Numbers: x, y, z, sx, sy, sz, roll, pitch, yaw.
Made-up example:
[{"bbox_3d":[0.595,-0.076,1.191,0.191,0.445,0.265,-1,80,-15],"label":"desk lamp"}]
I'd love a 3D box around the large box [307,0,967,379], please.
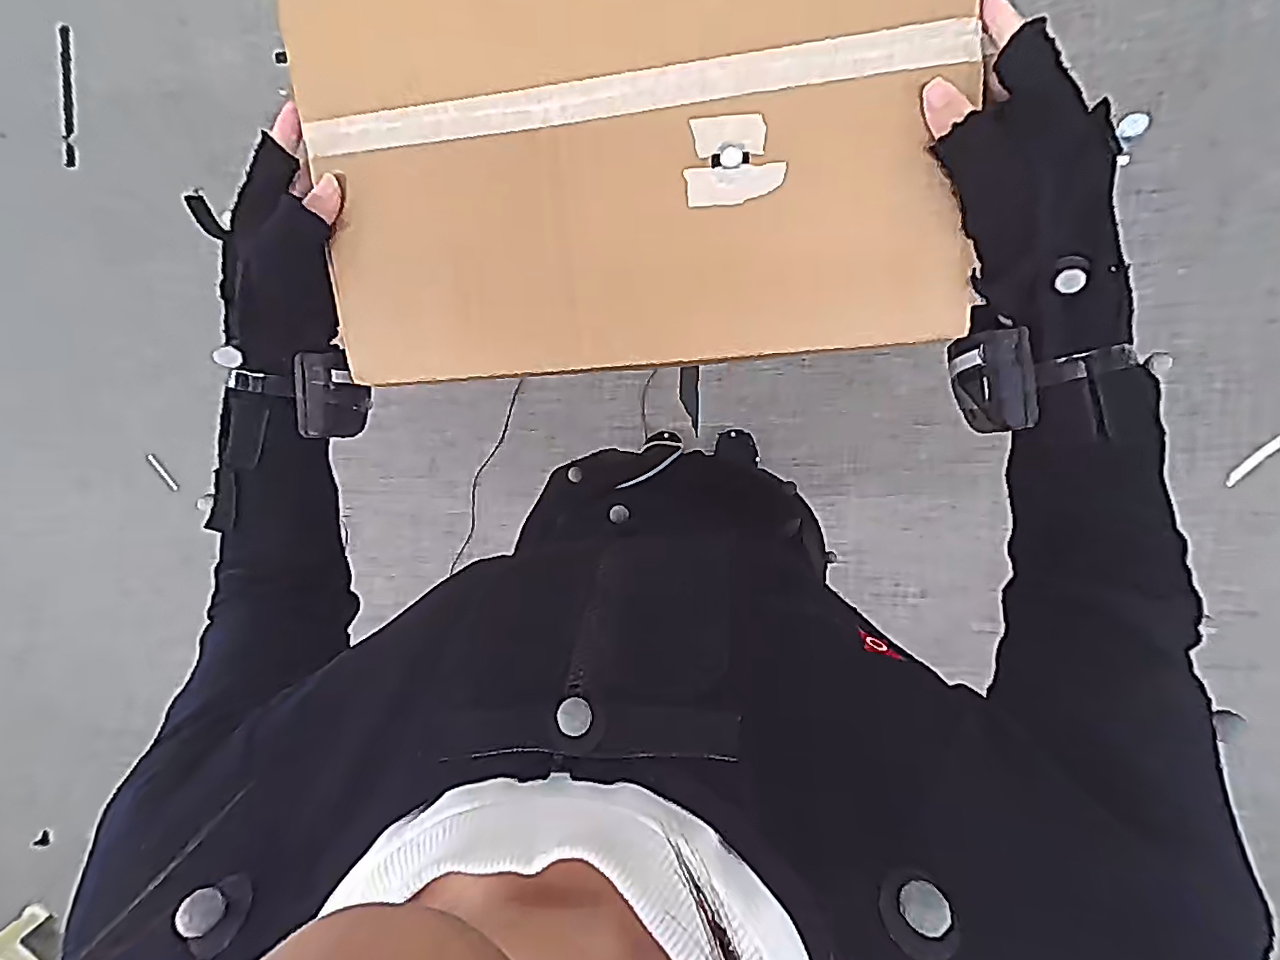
[{"bbox_3d":[0.005,-0.267,0.480,0.408,0.320,0.320,-3,102,7],"label":"large box"}]
